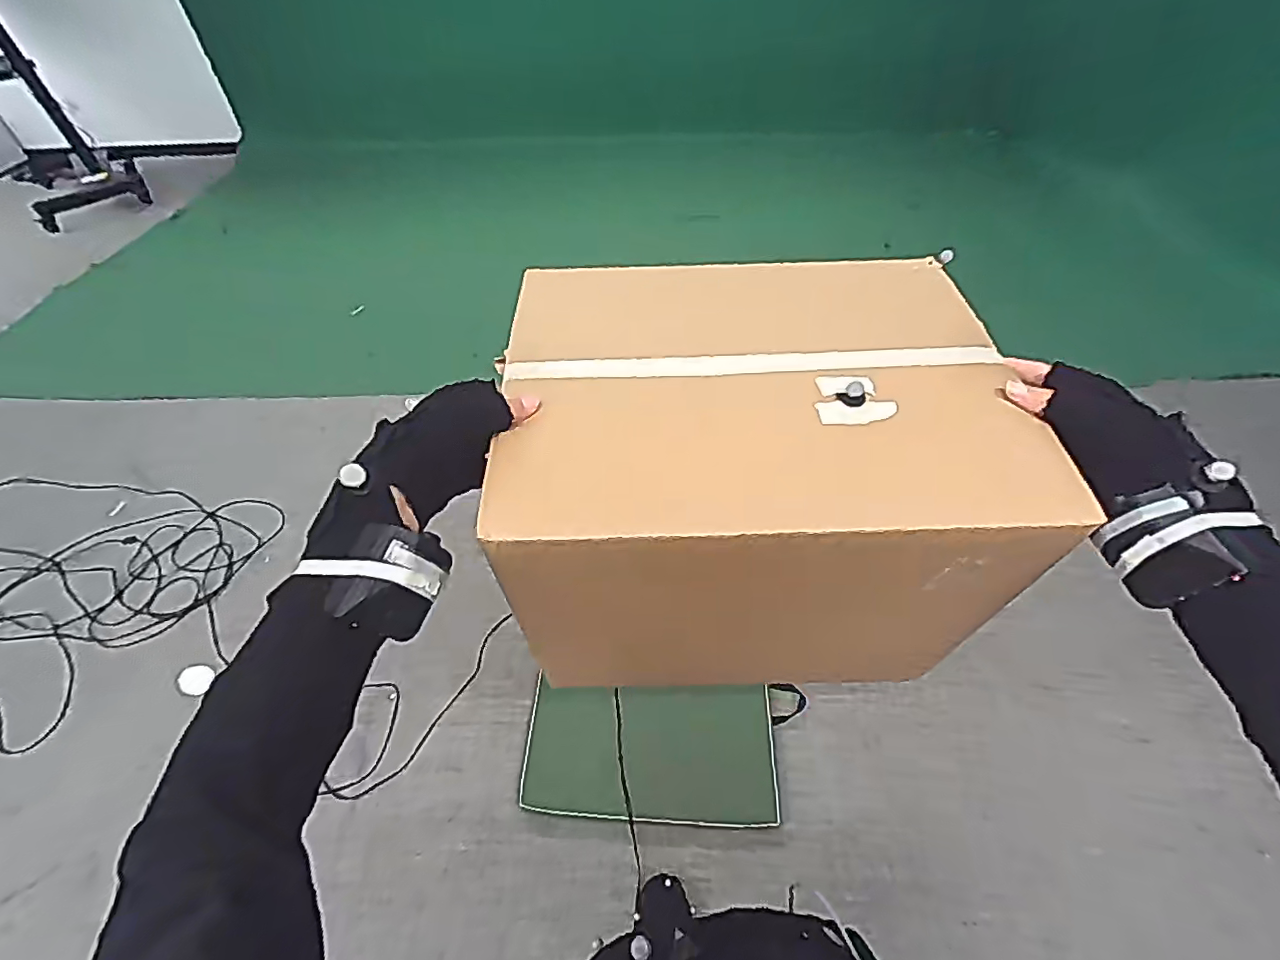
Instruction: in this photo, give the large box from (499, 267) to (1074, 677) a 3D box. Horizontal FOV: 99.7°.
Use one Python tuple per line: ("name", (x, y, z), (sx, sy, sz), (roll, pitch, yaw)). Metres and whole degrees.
("large box", (0.095, 0.000, 0.571), (0.408, 0.320, 0.320), (-1, 53, -1))
